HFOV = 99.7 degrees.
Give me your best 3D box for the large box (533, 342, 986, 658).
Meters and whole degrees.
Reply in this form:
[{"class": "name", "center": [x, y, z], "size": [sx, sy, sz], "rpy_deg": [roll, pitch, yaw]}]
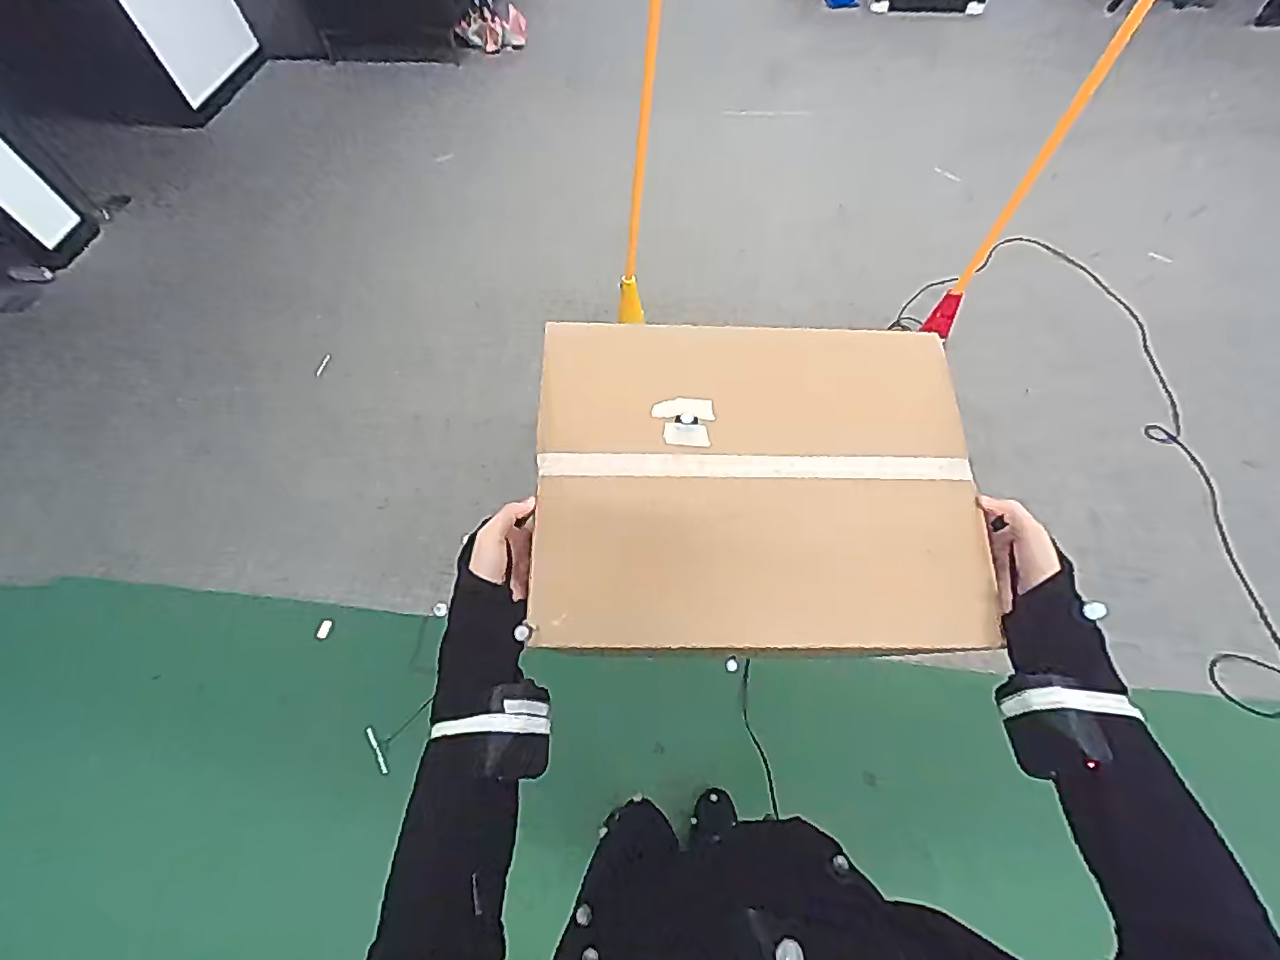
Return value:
[{"class": "large box", "center": [0.102, 0.050, 0.654], "size": [0.408, 0.320, 0.320], "rpy_deg": [0, 70, -1]}]
